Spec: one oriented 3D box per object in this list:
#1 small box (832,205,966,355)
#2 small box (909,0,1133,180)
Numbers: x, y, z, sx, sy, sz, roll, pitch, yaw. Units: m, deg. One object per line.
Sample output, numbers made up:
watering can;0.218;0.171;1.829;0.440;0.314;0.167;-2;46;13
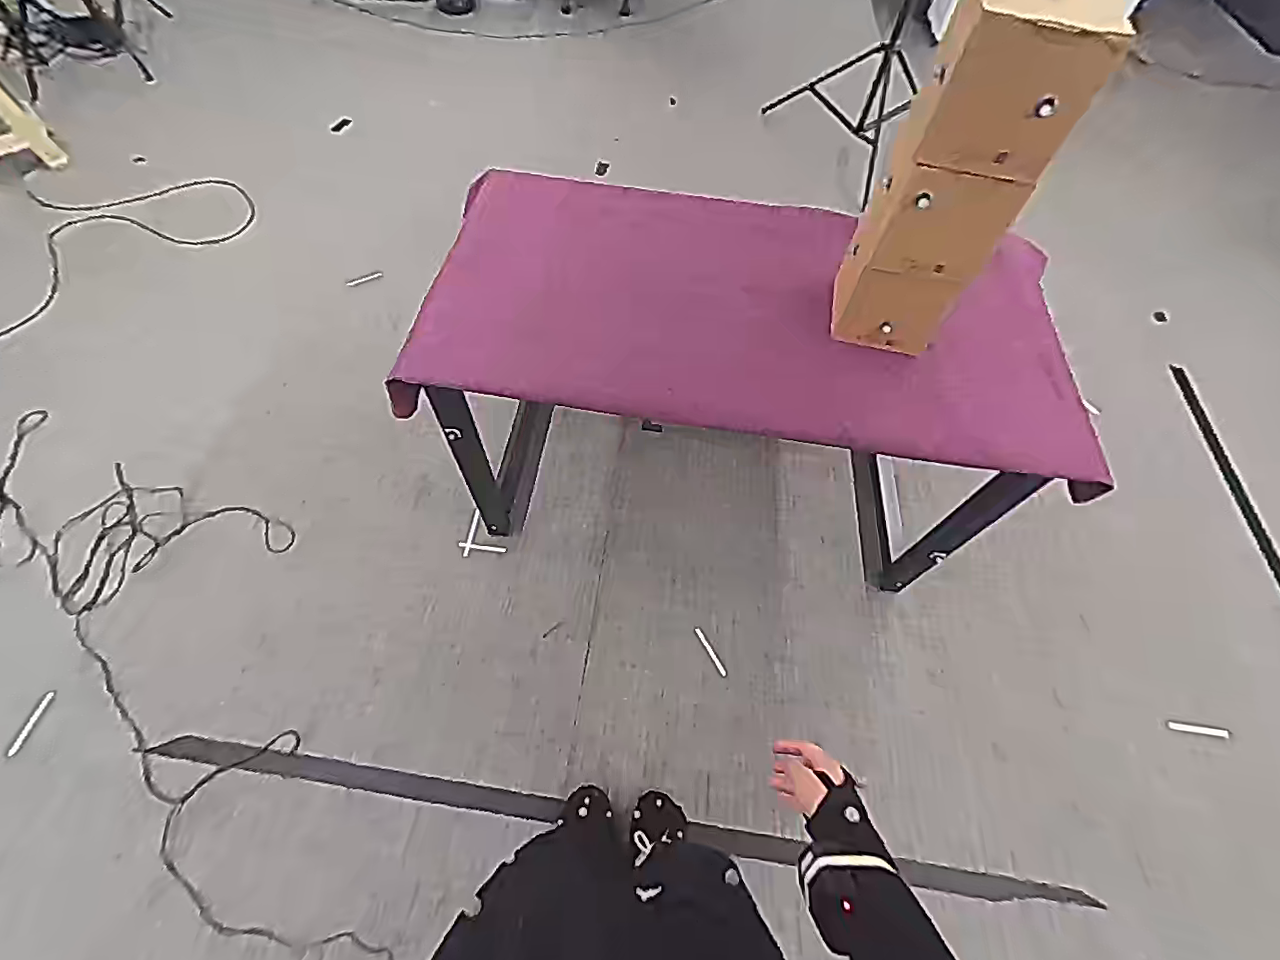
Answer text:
small box;0.460;-0.360;0.983;0.168;0.176;0.179;12;60;5
small box;0.469;-0.522;0.699;0.168;0.176;0.179;14;58;5
